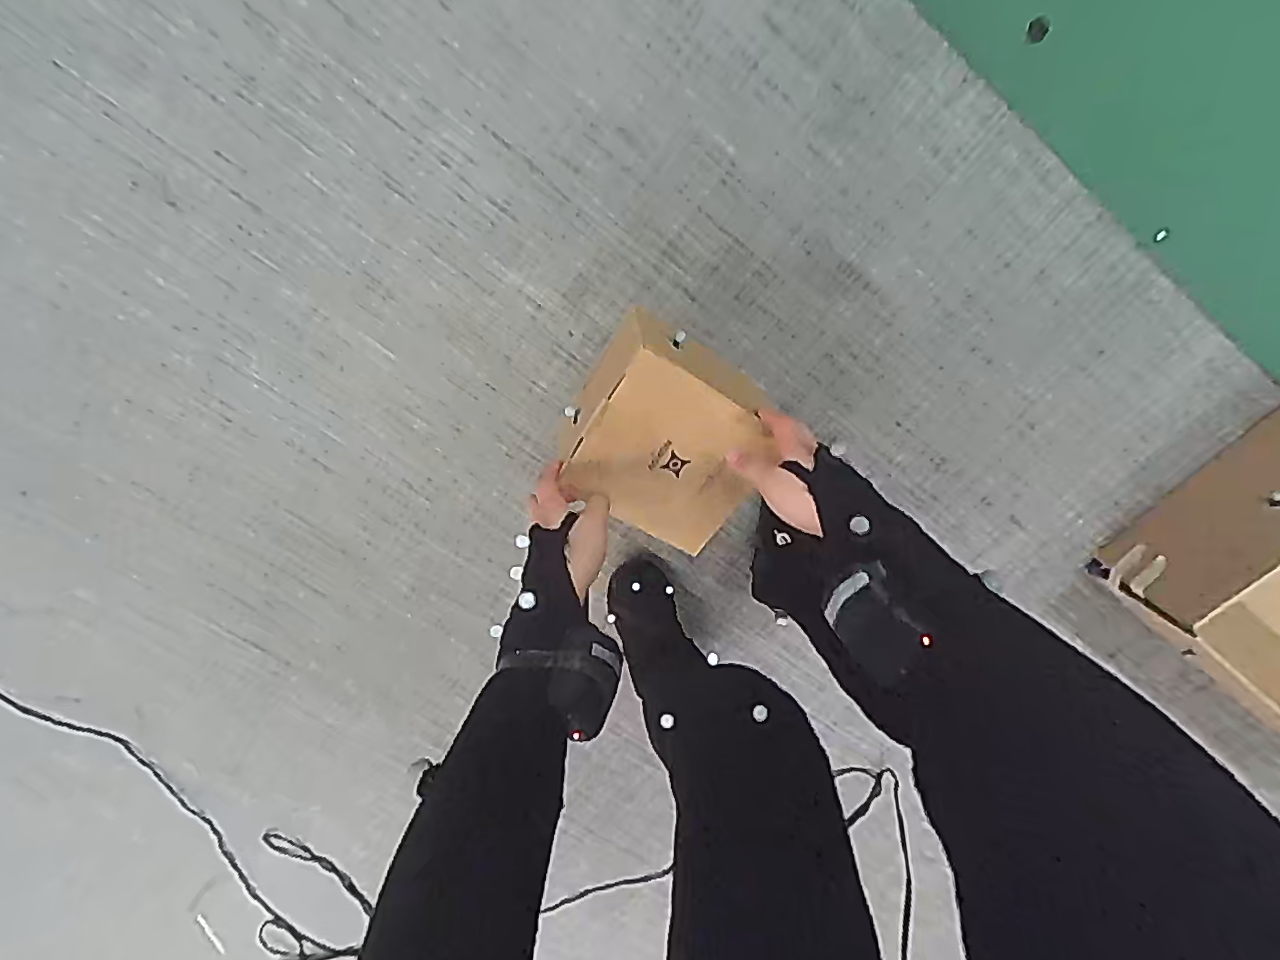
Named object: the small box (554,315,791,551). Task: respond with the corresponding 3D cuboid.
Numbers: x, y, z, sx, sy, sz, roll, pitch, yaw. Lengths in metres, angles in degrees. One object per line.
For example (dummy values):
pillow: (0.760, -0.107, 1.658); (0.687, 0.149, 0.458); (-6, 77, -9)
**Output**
small box: (0.024, -0.060, 0.589); (0.179, 0.176, 0.168); (27, 116, -19)
